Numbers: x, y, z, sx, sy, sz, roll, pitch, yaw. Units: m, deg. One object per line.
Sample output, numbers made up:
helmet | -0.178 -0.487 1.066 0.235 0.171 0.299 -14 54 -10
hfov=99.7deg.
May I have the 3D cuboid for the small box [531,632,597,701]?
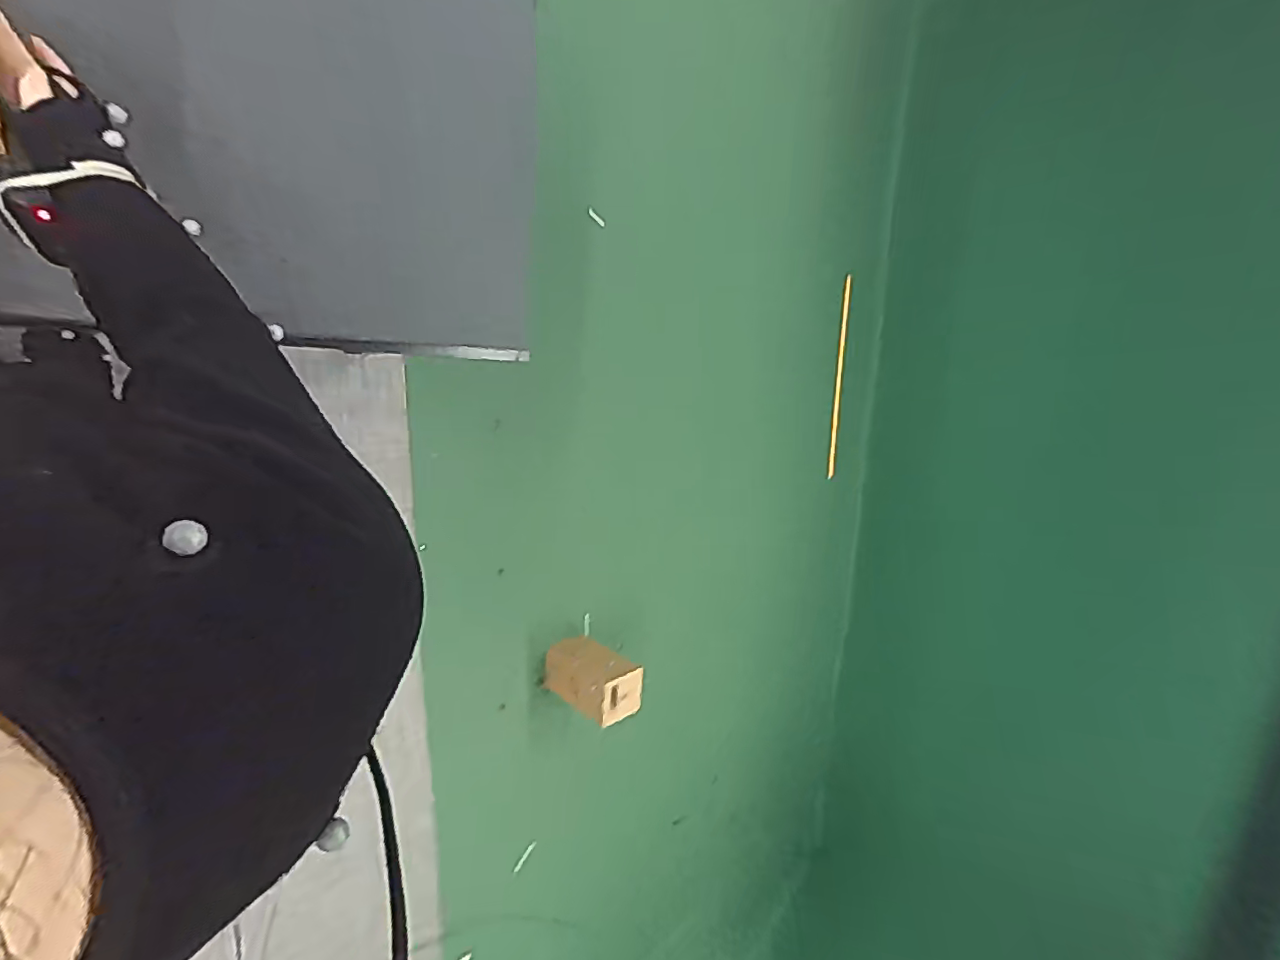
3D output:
small box | -0.286 0.692 2.035 0.179 0.176 0.168 -6 104 -46
